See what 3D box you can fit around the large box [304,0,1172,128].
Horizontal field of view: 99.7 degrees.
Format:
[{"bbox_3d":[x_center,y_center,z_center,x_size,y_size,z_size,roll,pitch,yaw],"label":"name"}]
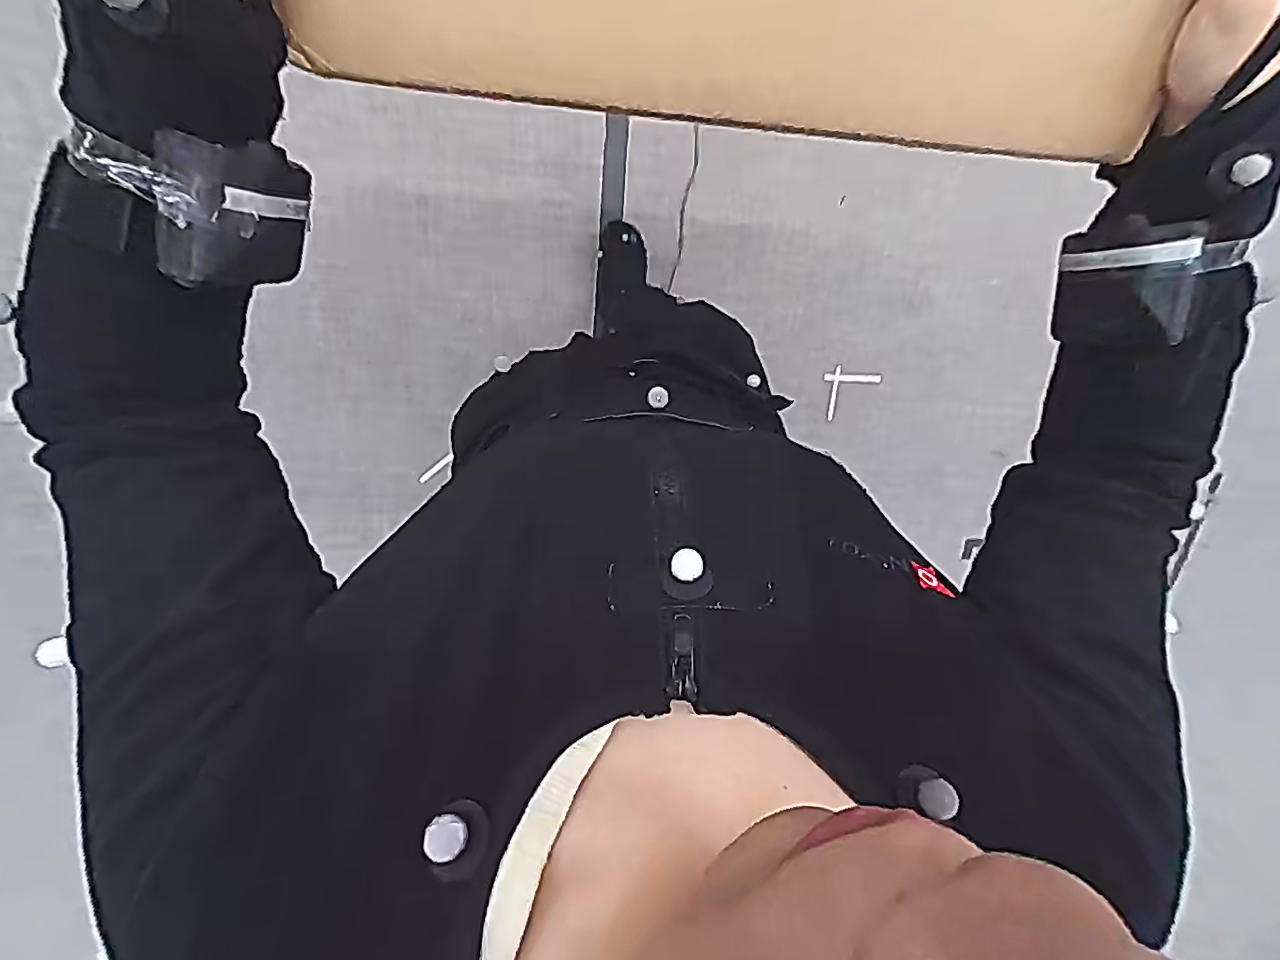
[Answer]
[{"bbox_3d":[0.049,-0.398,0.300,0.408,0.320,0.320,2,125,-6],"label":"large box"}]
